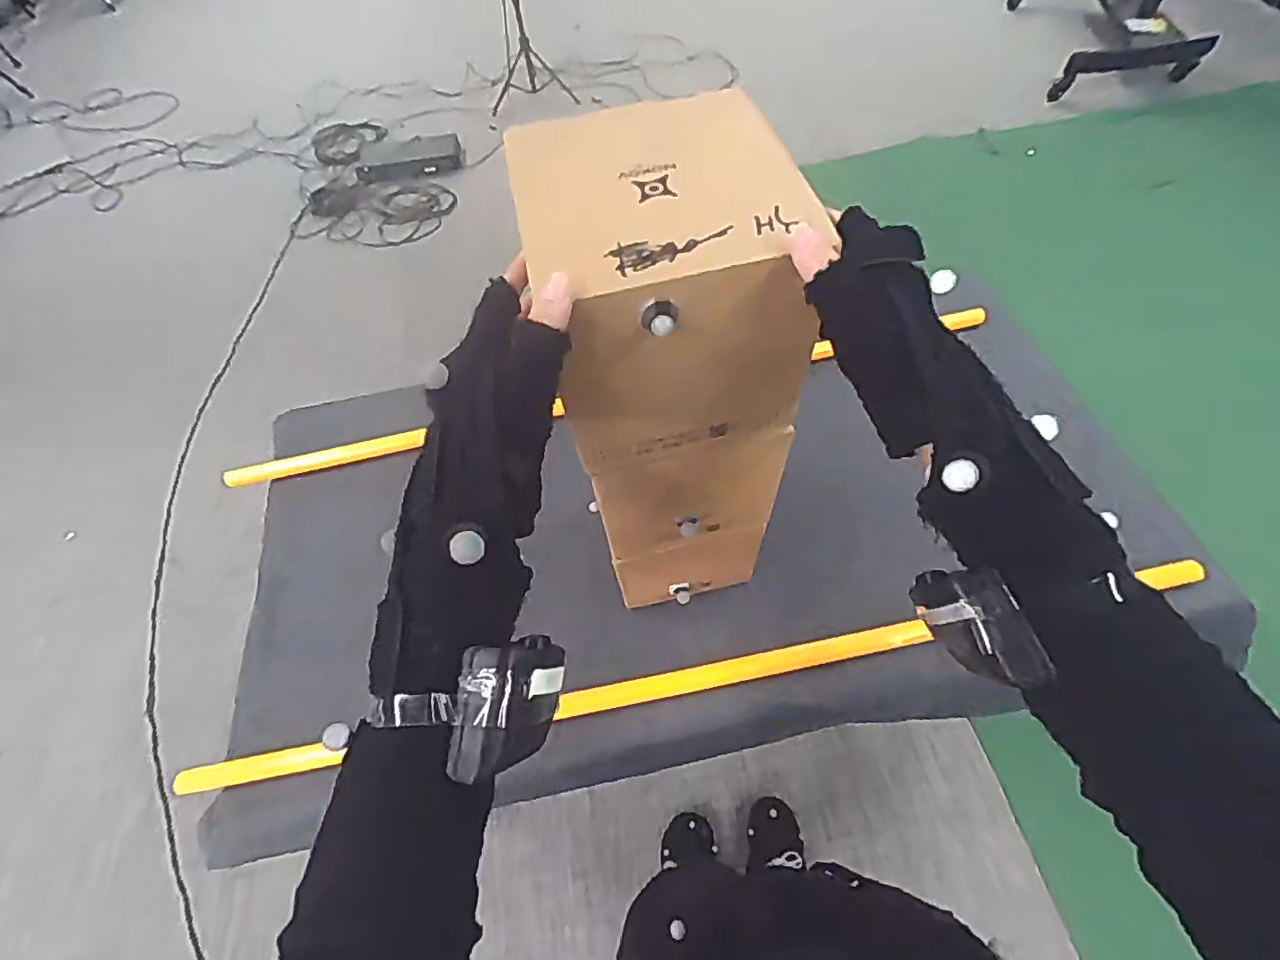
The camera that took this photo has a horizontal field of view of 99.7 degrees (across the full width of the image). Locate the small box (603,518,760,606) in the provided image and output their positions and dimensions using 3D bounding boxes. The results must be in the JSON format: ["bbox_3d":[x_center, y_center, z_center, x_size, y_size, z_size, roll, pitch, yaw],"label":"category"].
[{"bbox_3d":[0.036,0.036,0.677,0.168,0.176,0.179,-14,60,-3],"label":"small box"}]

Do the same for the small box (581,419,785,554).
[{"bbox_3d":[0.025,-0.050,0.537,0.168,0.176,0.179,-13,59,-2],"label":"small box"}]

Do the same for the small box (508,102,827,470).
[{"bbox_3d":[0.010,-0.134,0.397,0.168,0.176,0.179,-13,59,-2],"label":"small box"}]
